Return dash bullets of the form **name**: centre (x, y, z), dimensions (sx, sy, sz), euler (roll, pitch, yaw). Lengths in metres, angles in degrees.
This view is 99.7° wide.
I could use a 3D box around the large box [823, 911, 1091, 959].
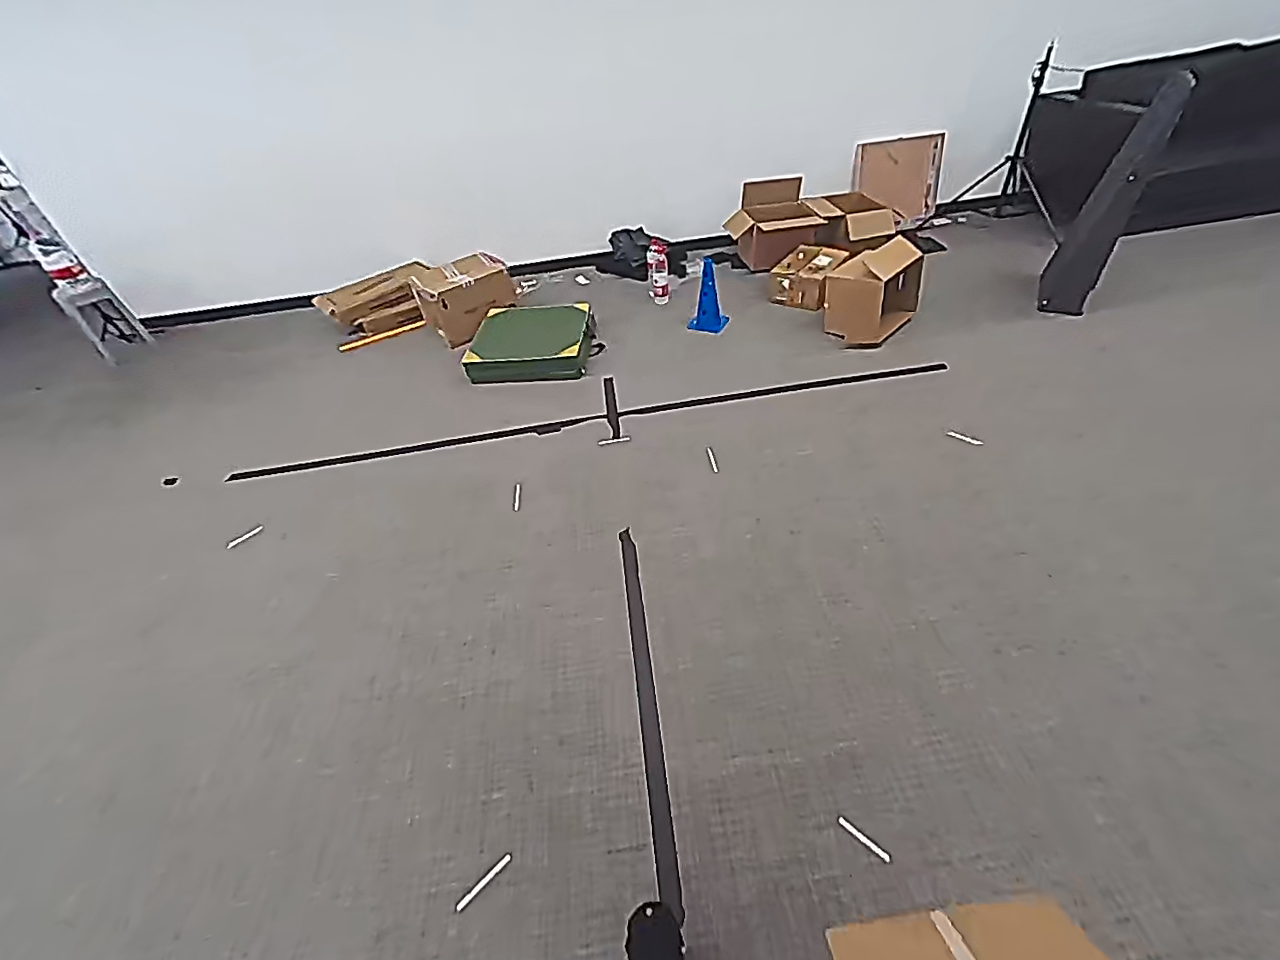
- **large box**: centre (0.418, 0.753, 0.539), dimensions (0.320, 0.320, 0.408), euler (-11, -1, 2)
